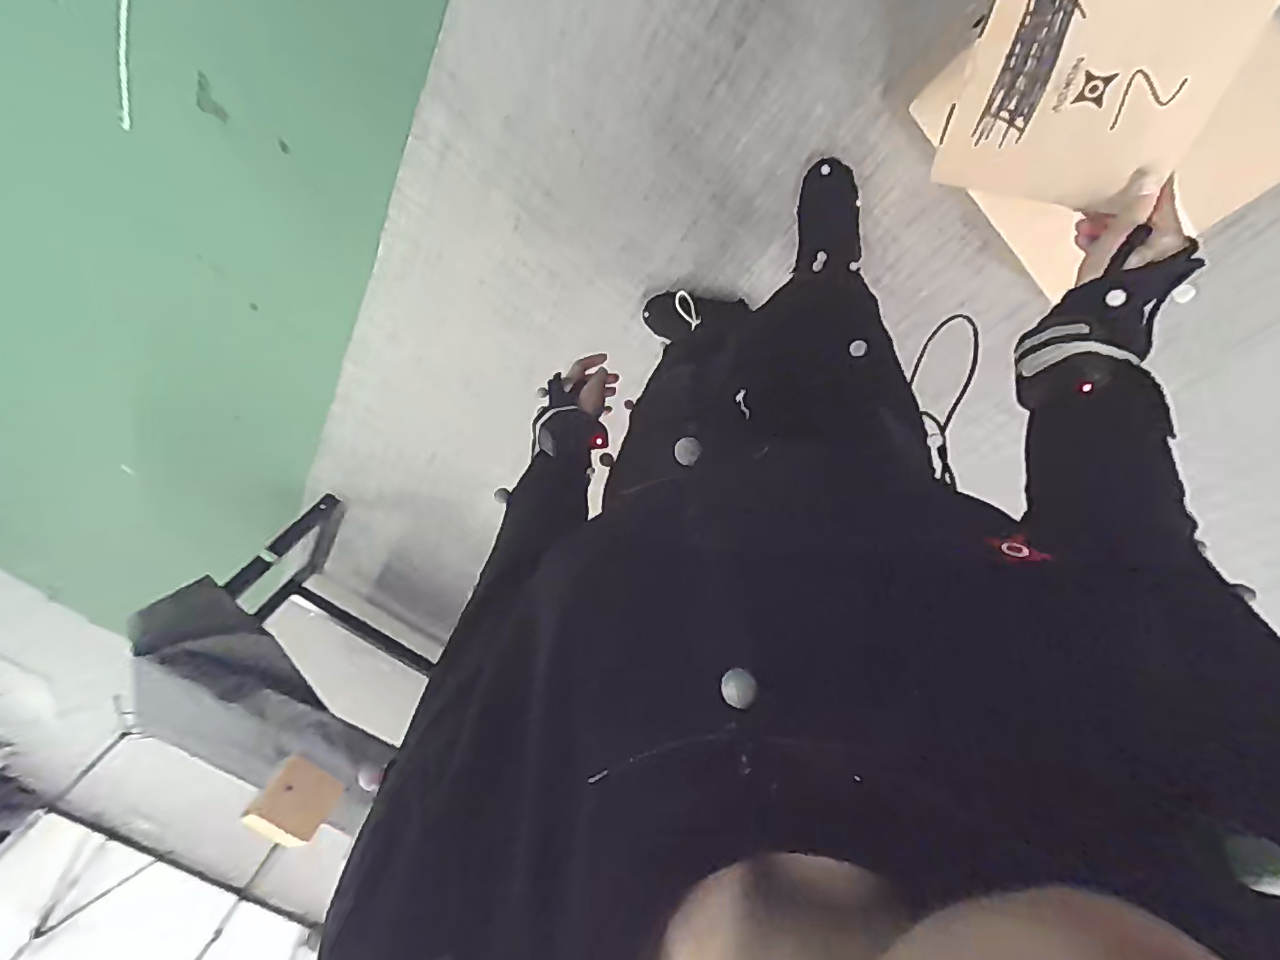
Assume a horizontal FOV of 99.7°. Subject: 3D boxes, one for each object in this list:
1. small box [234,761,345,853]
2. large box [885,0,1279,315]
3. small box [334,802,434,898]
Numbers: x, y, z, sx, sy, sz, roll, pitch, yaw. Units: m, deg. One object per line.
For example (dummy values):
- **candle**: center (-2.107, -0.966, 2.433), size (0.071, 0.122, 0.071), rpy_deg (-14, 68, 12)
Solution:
- **small box**: center (-0.989, 0.919, 1.532), size (0.179, 0.176, 0.168), rpy_deg (44, 127, -16)
- **large box**: center (0.637, -0.536, 0.803), size (0.408, 0.320, 0.320), rpy_deg (41, 127, -15)
- **small box**: center (-0.727, 1.057, 1.547), size (0.179, 0.176, 0.168), rpy_deg (38, 129, -10)
